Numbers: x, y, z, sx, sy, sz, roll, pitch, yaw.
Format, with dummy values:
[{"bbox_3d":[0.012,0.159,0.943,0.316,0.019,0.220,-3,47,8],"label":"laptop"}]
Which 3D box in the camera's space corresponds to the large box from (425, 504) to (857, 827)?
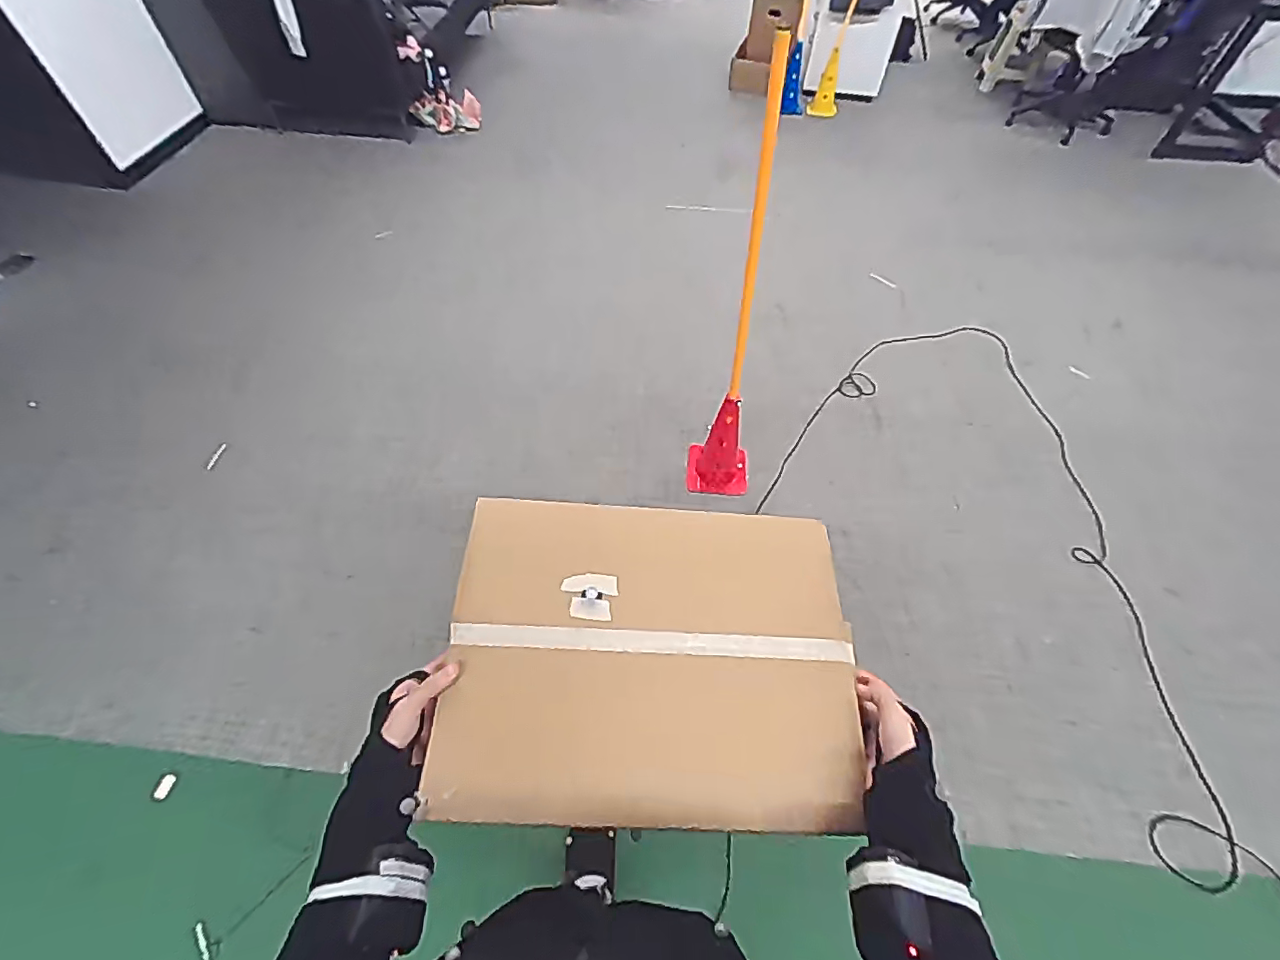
[{"bbox_3d":[0.000,0.243,0.692,0.408,0.320,0.320,4,60,-2],"label":"large box"}]
